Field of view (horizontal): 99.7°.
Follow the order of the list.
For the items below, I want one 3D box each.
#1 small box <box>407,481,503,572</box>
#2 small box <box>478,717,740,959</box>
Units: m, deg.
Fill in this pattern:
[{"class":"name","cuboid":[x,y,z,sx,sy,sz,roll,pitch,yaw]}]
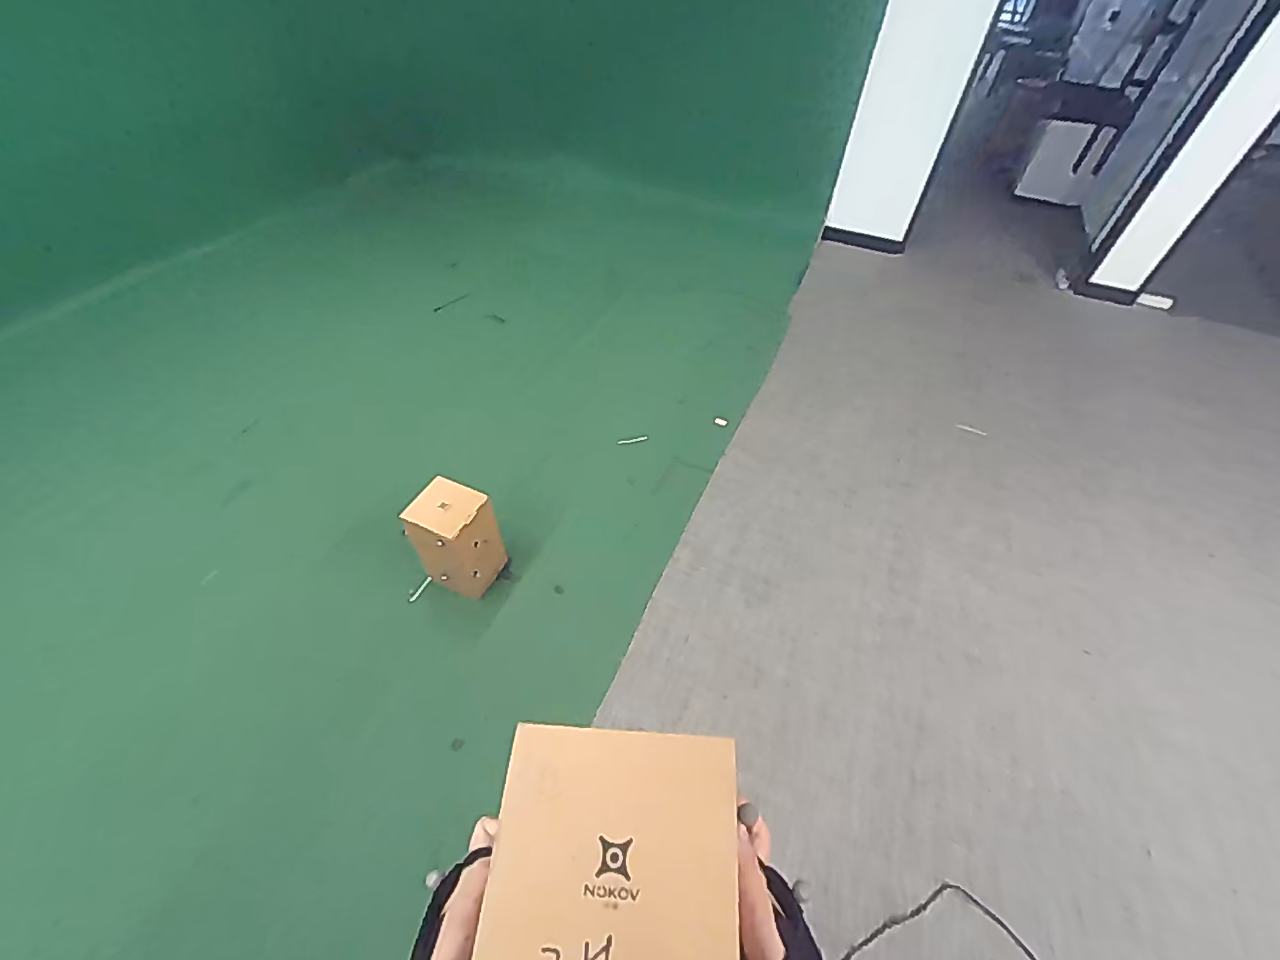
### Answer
[{"class":"small box","cuboid":[-0.515,0.135,1.532,0.179,0.176,0.168,19,51,15]},{"class":"small box","cuboid":[-0.009,0.303,0.427,0.168,0.176,0.179,0,55,7]}]
